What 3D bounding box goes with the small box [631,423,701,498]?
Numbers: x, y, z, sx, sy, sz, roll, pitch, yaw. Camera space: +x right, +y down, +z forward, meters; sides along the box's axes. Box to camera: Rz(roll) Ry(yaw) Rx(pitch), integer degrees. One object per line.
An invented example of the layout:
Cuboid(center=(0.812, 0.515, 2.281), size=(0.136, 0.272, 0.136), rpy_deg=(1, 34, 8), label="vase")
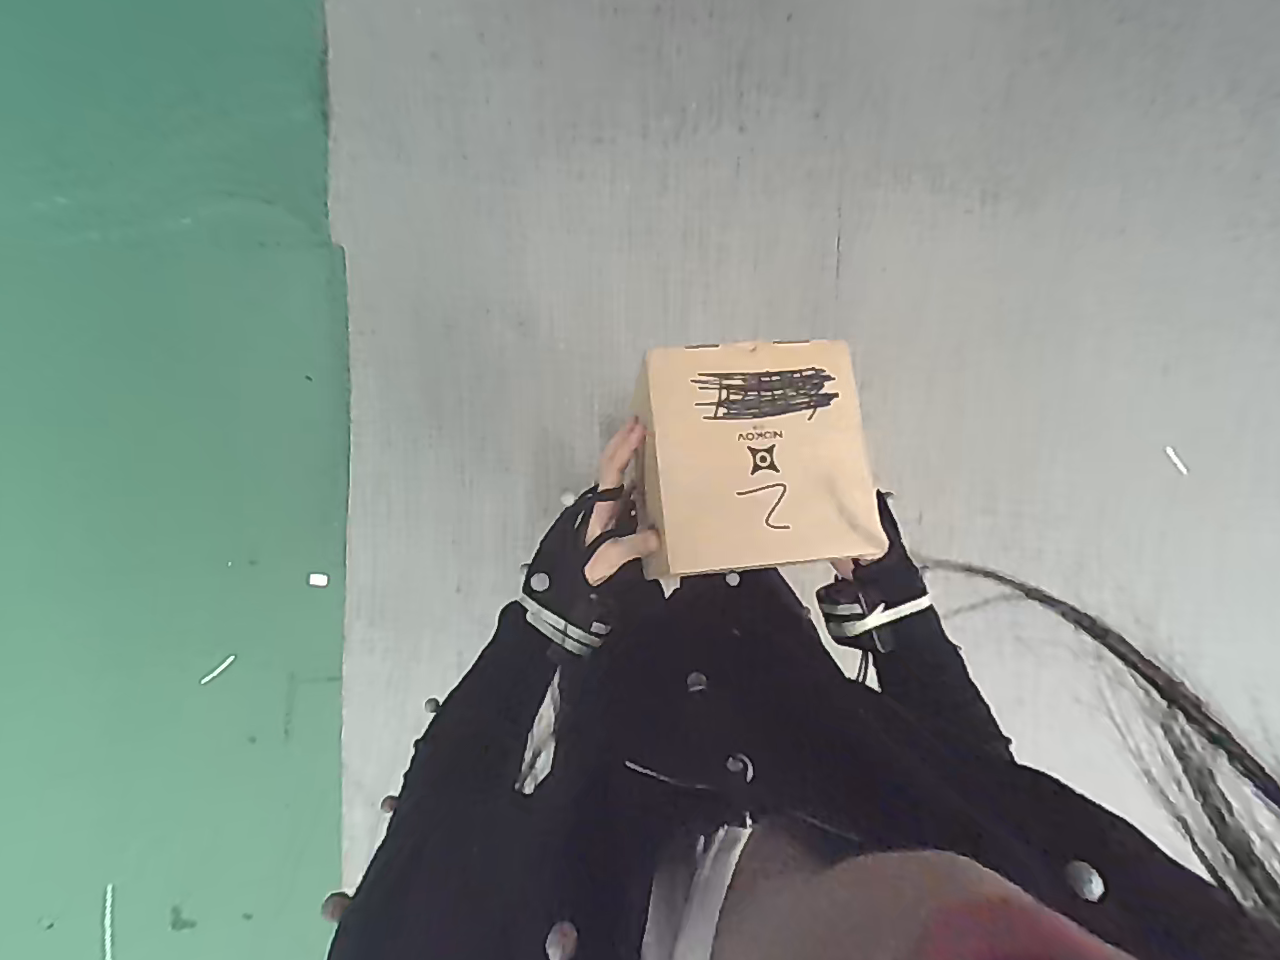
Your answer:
Cuboid(center=(0.065, -0.053, 1.398), size=(0.168, 0.176, 0.179), rpy_deg=(-5, 92, 0), label="small box")
